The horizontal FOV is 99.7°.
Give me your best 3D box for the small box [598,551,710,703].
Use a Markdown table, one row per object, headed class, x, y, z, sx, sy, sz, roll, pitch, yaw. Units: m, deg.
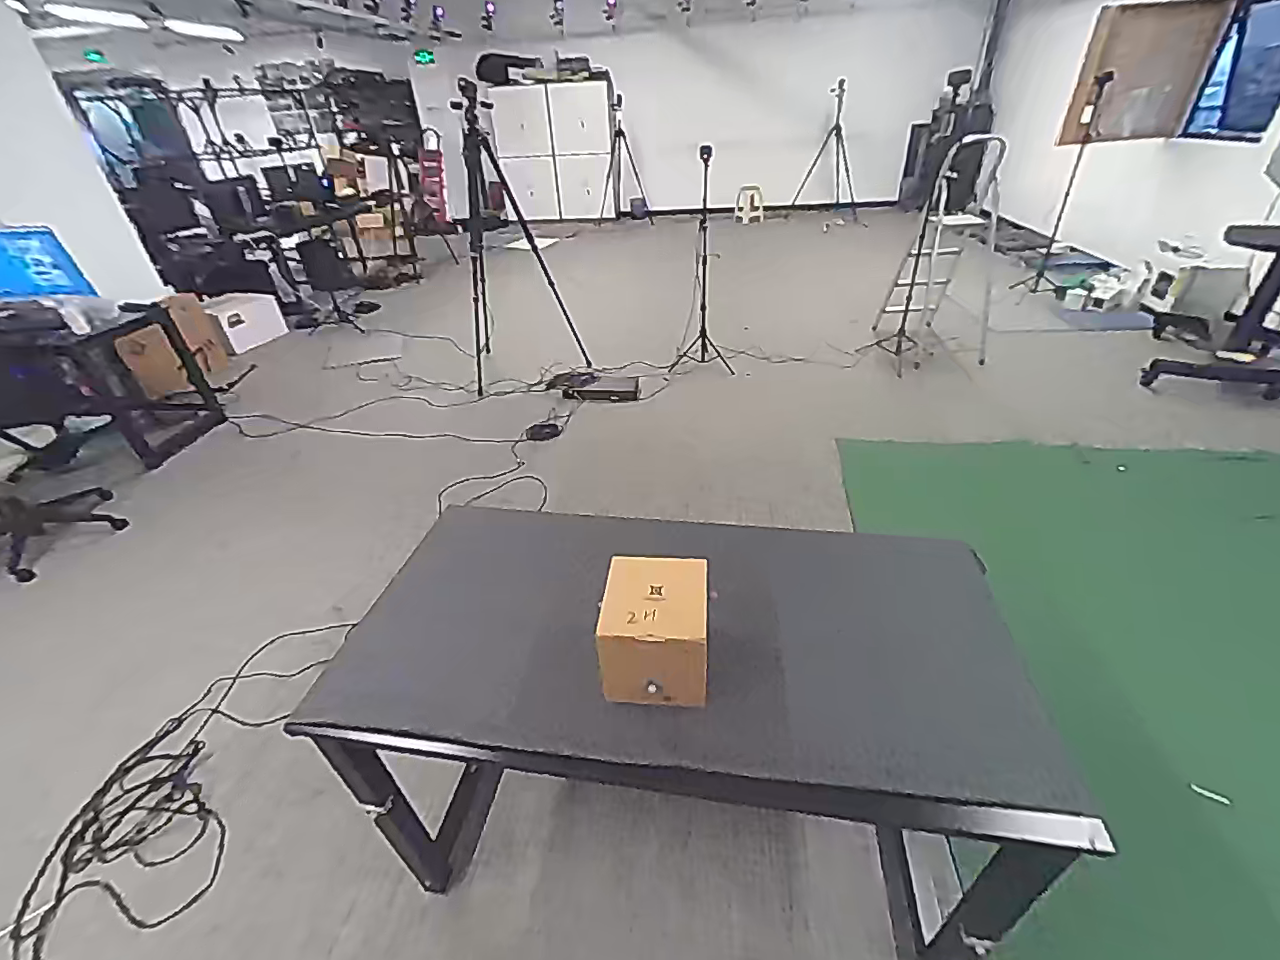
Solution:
| class | x | y | z | sx | sy | sz | roll | pitch | yaw |
| --- | --- | --- | --- | --- | --- | --- | --- | --- | --- |
| small box | 0.031 | 0.241 | 0.900 | 0.168 | 0.176 | 0.179 | 1 | 34 | 7 |
